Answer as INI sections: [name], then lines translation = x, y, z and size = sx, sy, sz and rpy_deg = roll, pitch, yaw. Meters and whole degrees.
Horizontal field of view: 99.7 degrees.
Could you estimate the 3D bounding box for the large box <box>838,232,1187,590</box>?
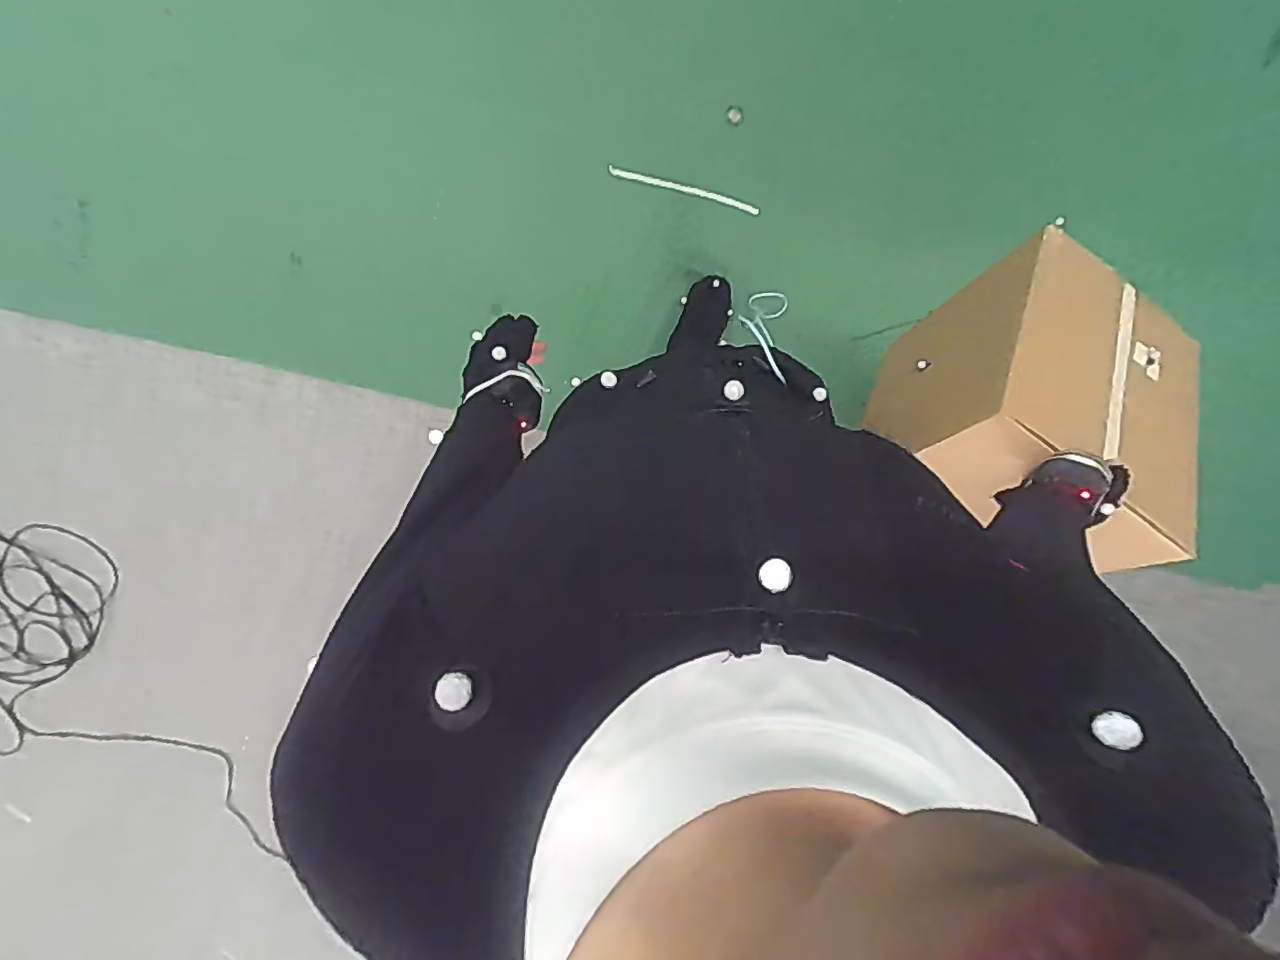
[large box]
translation = 0.583, -0.090, 0.867
size = 0.320, 0.320, 0.408
rpy_deg = 35, 63, -6
